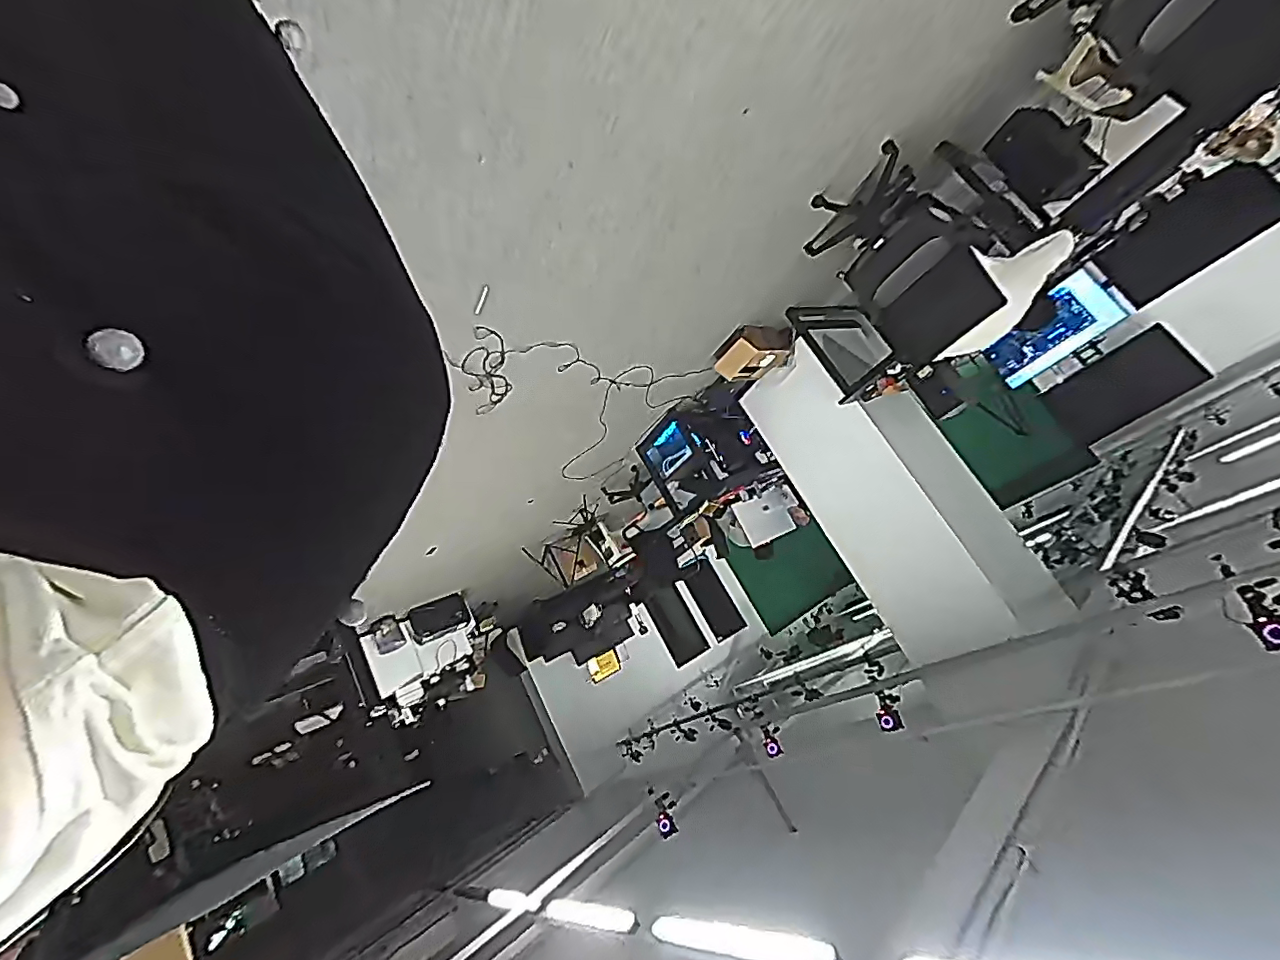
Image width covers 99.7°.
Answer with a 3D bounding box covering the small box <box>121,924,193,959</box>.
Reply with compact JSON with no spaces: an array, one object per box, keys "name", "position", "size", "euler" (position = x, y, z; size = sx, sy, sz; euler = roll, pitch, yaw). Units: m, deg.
[{"name":"small box","position":[-1.522,1.543,1.693],"size":[0.179,0.176,0.168],"euler":[-15,159,-42]}]
